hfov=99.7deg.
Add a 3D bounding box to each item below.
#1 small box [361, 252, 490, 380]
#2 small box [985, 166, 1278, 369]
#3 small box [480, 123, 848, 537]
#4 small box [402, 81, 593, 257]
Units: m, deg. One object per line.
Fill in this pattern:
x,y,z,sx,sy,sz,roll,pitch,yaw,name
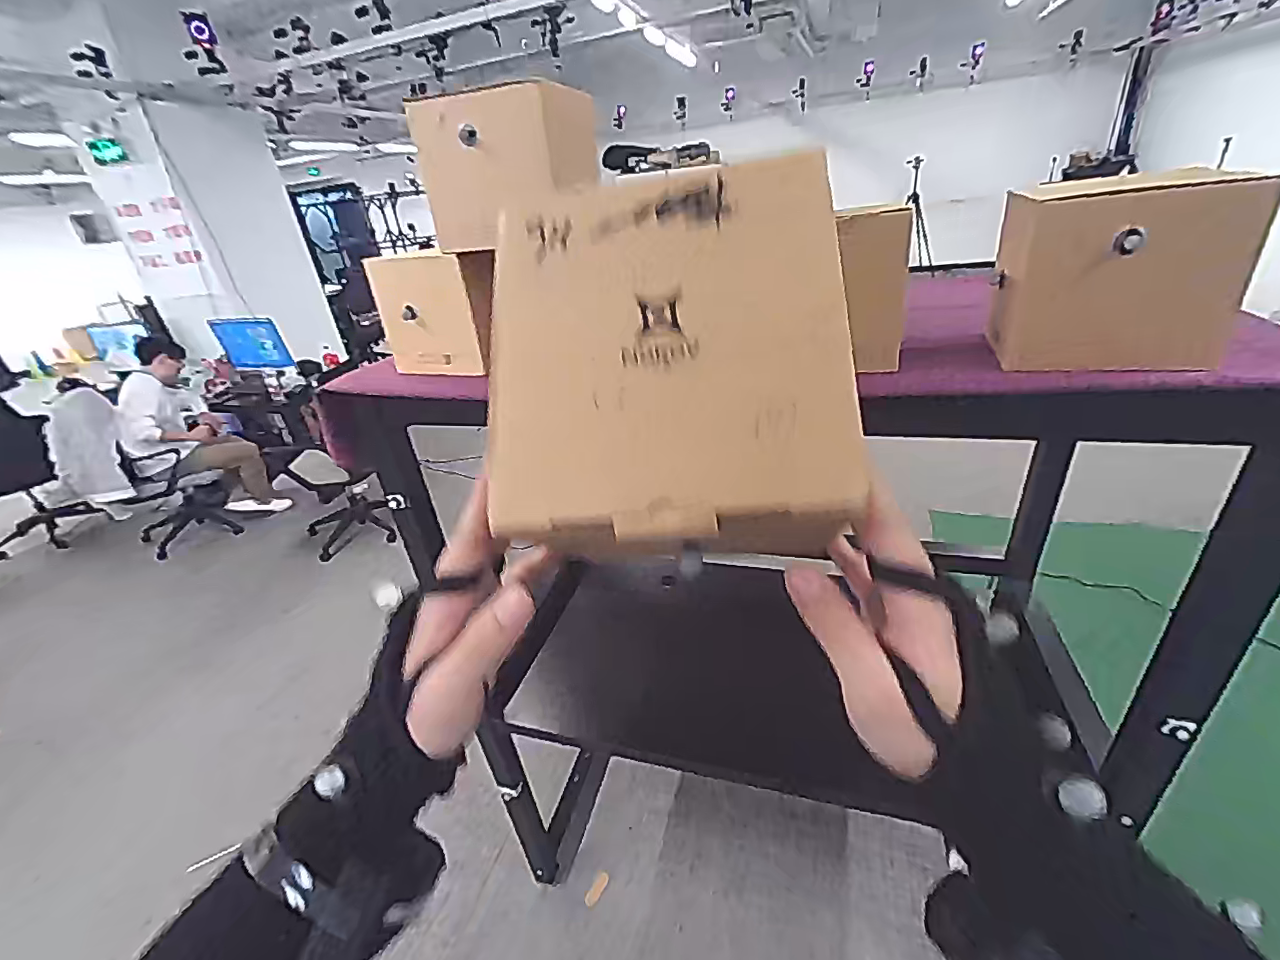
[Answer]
-0.277,-0.257,0.828,0.168,0.176,0.179,5,29,22,small box
0.479,-0.221,0.569,0.179,0.176,0.168,4,31,23,small box
0.022,-0.060,0.326,0.168,0.179,0.176,-4,-14,12,small box
-0.167,-0.392,0.705,0.179,0.176,0.168,3,29,17,small box
